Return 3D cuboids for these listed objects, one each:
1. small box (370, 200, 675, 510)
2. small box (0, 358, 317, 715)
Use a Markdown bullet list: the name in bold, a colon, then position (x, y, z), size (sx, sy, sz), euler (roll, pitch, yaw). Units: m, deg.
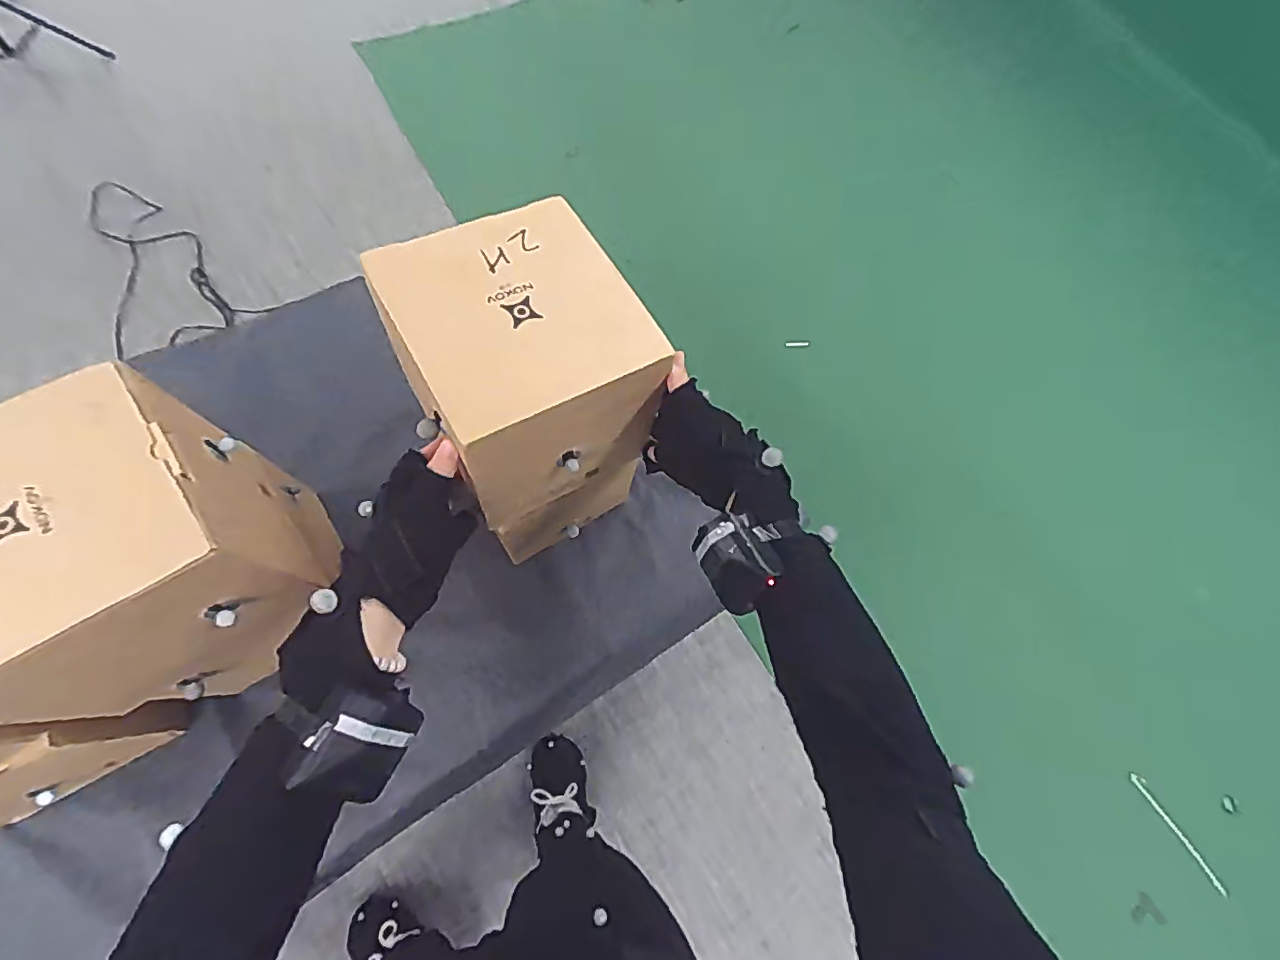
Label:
- **small box**: position (-0.094, -0.093, 0.464), size (0.168, 0.176, 0.179), euler (-27, 72, -19)
- **small box**: position (-0.378, 0.049, 0.404), size (0.179, 0.176, 0.168), euler (-33, 76, -16)
